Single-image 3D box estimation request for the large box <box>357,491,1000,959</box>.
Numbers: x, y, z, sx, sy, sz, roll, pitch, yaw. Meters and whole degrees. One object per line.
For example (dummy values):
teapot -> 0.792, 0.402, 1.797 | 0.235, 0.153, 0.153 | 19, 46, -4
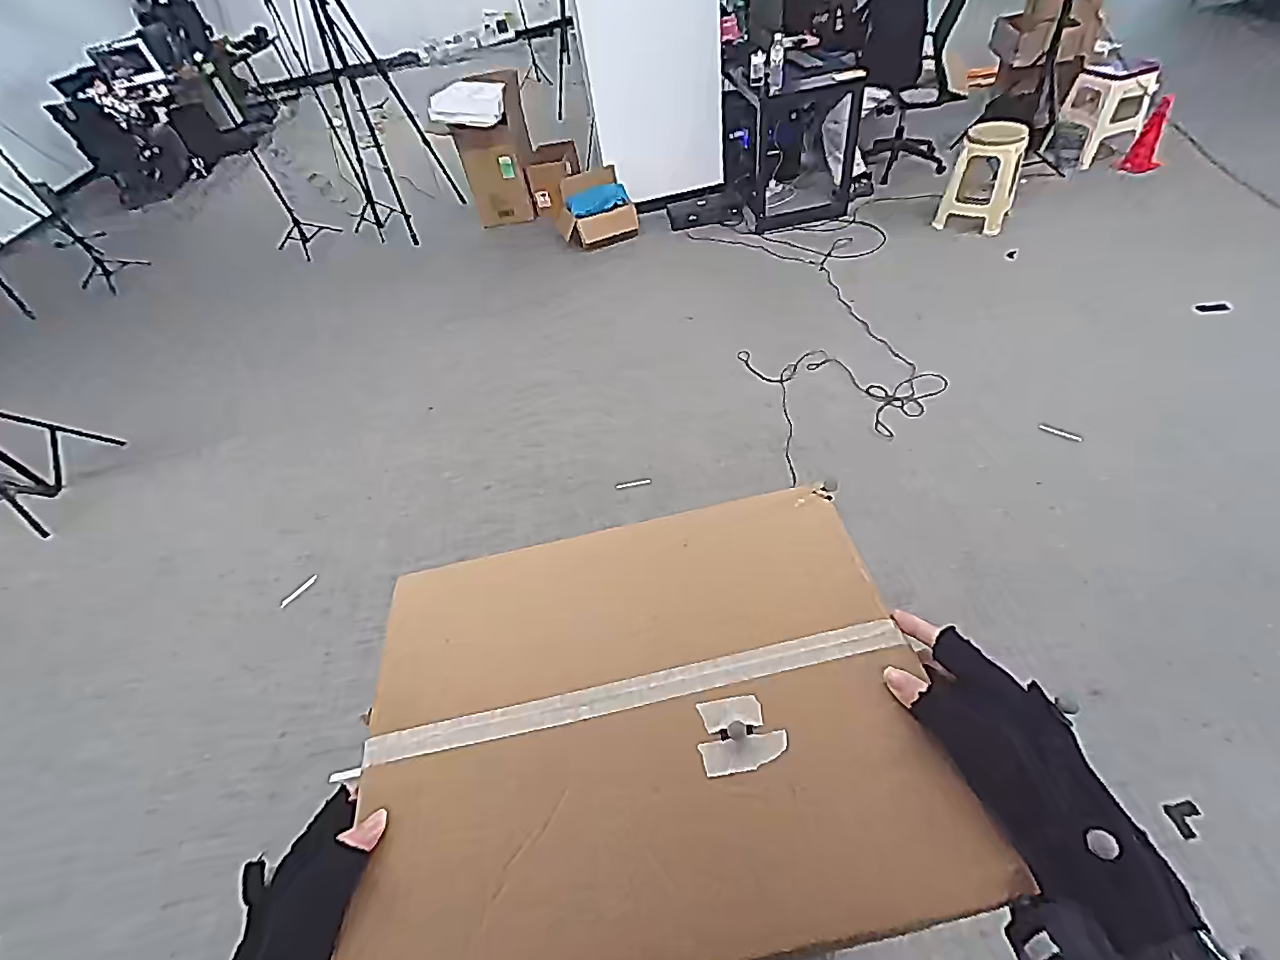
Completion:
large box -> 0.019, 0.262, 0.525 | 0.408, 0.320, 0.320 | -13, 47, 0
